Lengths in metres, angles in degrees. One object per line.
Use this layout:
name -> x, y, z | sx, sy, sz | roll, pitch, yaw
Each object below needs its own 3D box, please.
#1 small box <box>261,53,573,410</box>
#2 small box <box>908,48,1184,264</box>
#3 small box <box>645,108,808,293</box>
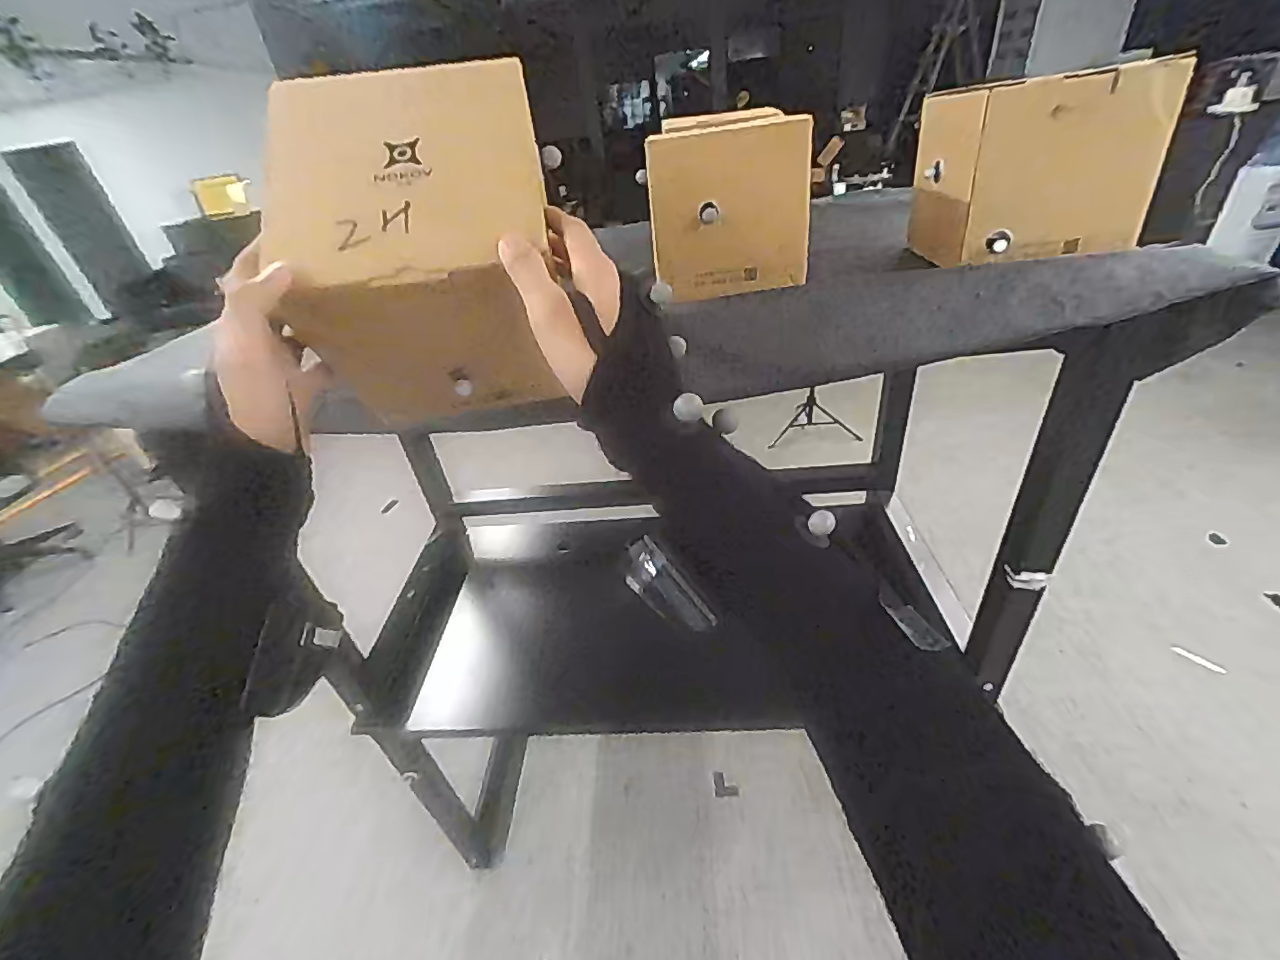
small box -> -0.148, -0.176, 0.414 | 0.168, 0.176, 0.179 | -9, 70, -4
small box -> 0.411, -0.340, 0.589 | 0.168, 0.176, 0.179 | -3, 31, 8
small box -> 0.100, -0.329, 0.646 | 0.168, 0.176, 0.179 | -4, 32, 6
